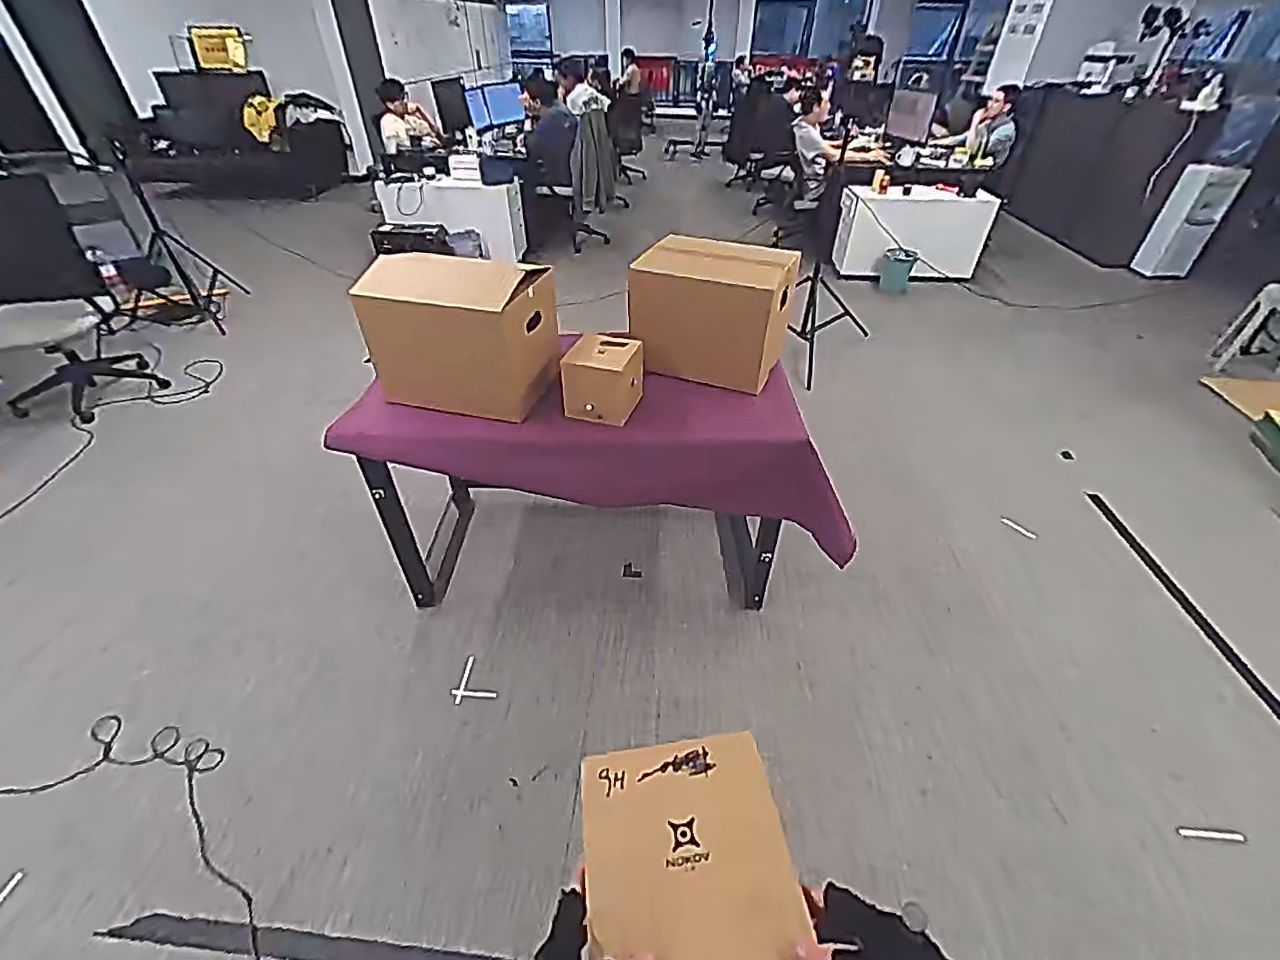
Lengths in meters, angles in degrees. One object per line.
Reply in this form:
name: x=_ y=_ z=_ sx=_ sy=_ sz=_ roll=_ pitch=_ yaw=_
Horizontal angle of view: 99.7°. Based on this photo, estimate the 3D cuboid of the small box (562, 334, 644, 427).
small box: x=-0.094 y=-0.267 z=1.439 sx=0.168 sy=0.176 sz=0.179 roll=12 pitch=41 yaw=14

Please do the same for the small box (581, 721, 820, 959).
small box: x=0.043 y=0.351 z=0.482 sx=0.168 sy=0.176 sz=0.179 roll=-8 pitch=37 yaw=-4
